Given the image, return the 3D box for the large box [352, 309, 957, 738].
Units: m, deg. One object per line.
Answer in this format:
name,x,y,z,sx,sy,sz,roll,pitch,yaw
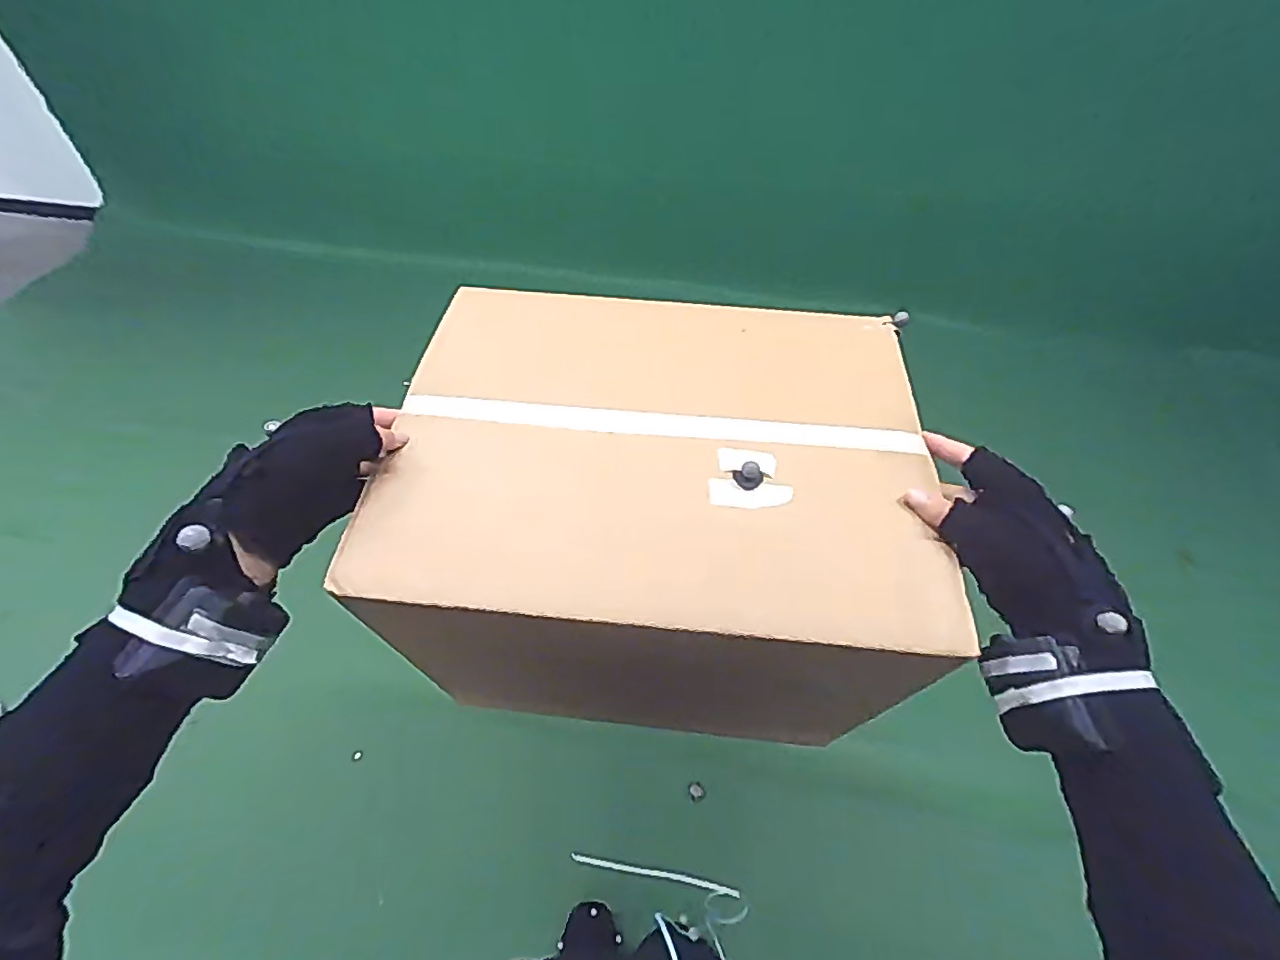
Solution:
large box,0.015,0.055,0.555,0.408,0.320,0.320,5,55,3
